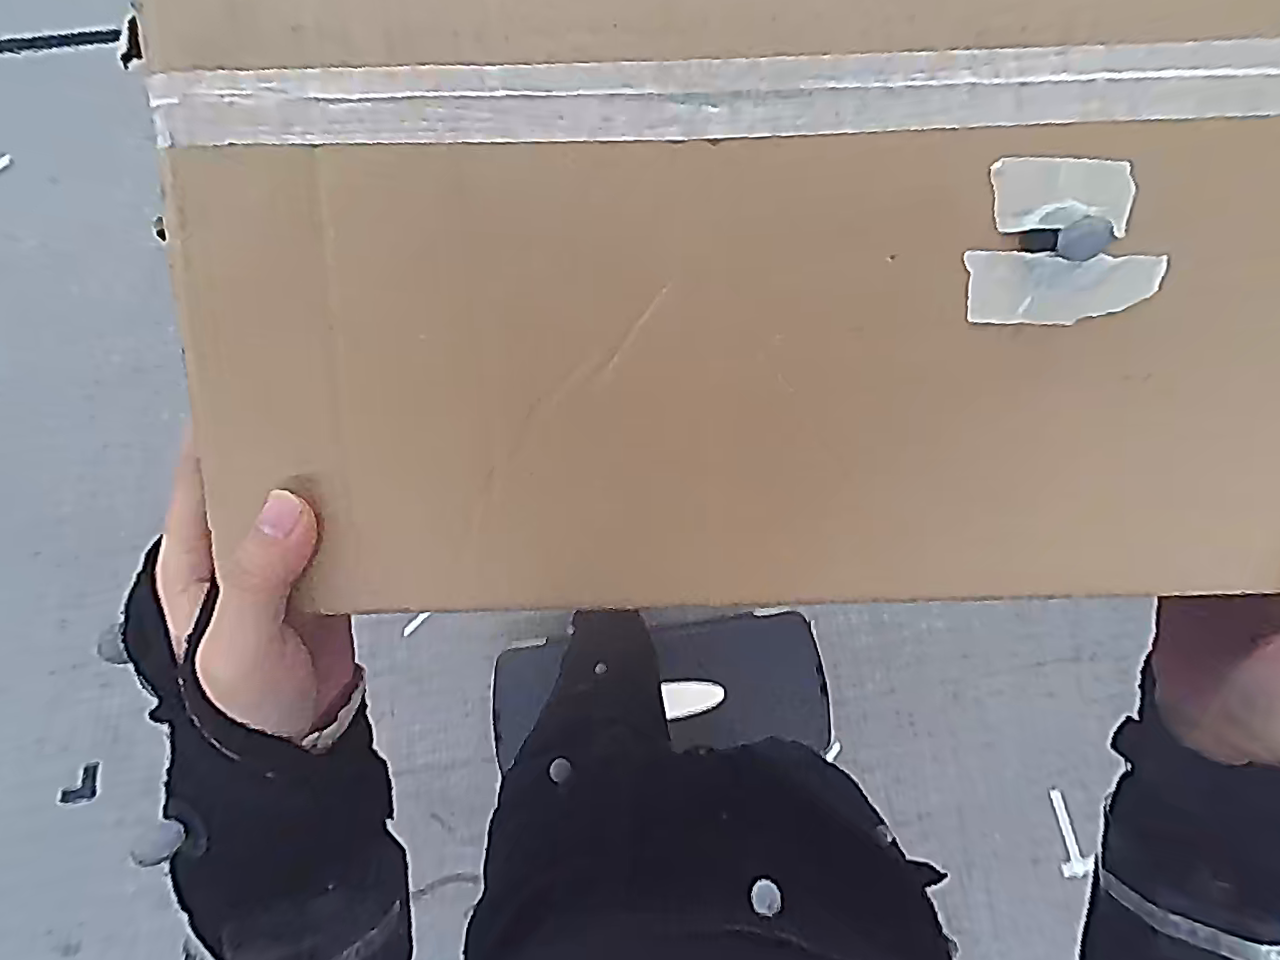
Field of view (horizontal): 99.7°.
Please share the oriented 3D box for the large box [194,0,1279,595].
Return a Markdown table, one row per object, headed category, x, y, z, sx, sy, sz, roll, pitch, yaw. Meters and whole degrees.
| category | x | y | z | sx | sy | sz | roll | pitch | yaw |
| --- | --- | --- | --- | --- | --- | --- | --- | --- | --- |
| large box | 0.054 | -0.134 | 0.325 | 0.408 | 0.320 | 0.320 | -2 | 97 | -1 |
